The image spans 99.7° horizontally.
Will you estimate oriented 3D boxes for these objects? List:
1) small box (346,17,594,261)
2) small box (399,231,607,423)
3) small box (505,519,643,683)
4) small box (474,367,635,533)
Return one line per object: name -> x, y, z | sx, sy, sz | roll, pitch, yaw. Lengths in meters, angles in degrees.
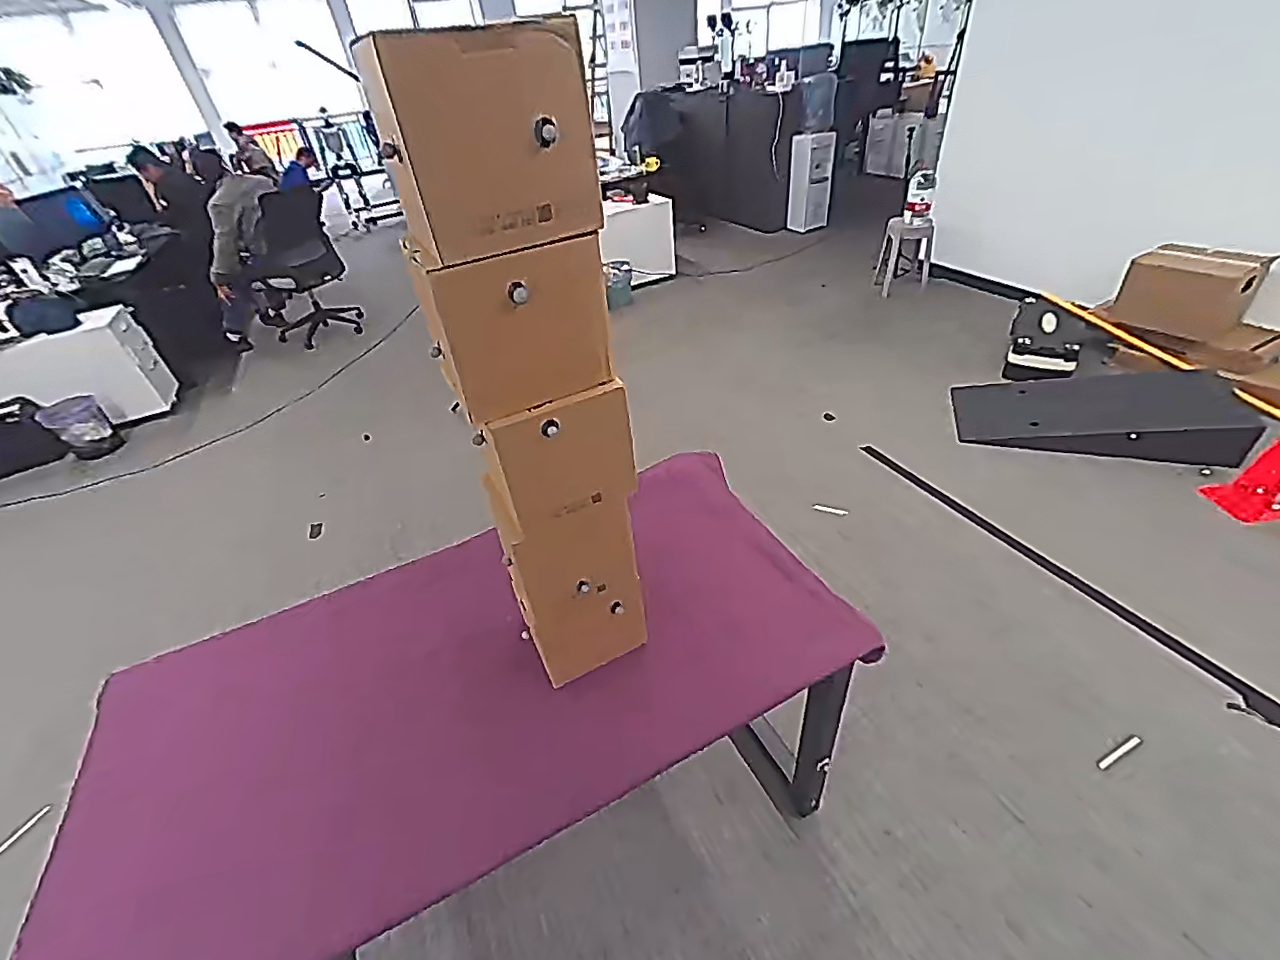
small box -> -0.158, -0.324, 0.524 | 0.168, 0.176, 0.179 | -23, 40, -20
small box -> -0.148, -0.192, 0.619 | 0.179, 0.176, 0.168 | -23, 41, -18
small box -> -0.104, 0.201, 0.909 | 0.179, 0.176, 0.168 | -22, 40, -17
small box -> -0.120, -0.061, 0.713 | 0.168, 0.176, 0.179 | -22, 40, -18
